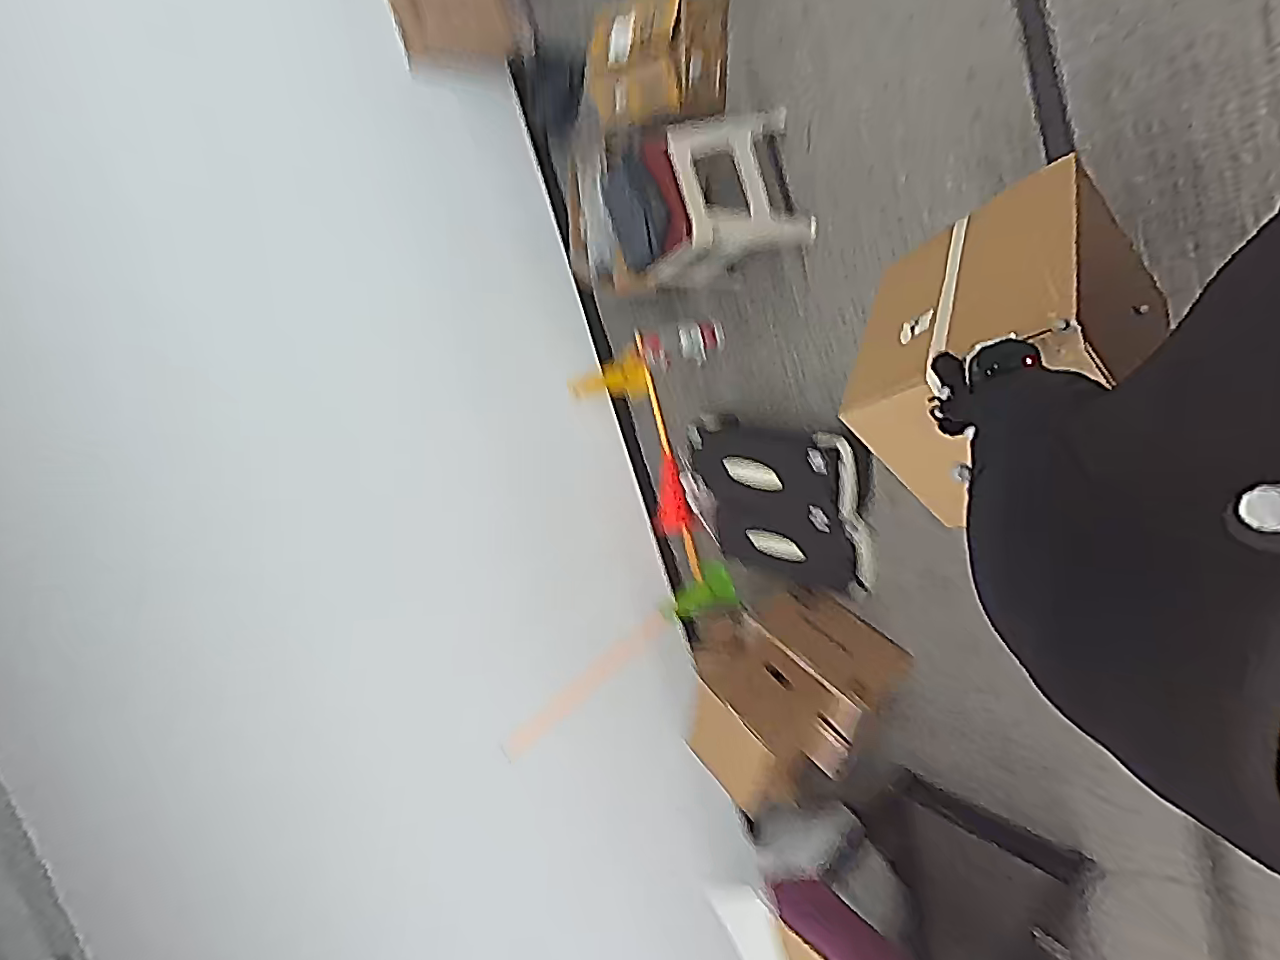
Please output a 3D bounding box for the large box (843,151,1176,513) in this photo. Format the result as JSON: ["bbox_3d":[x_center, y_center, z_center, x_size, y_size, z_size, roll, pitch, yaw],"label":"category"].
[{"bbox_3d":[0.583,-0.212,0.868,0.320,0.408,0.320,38,149,-19],"label":"large box"}]
